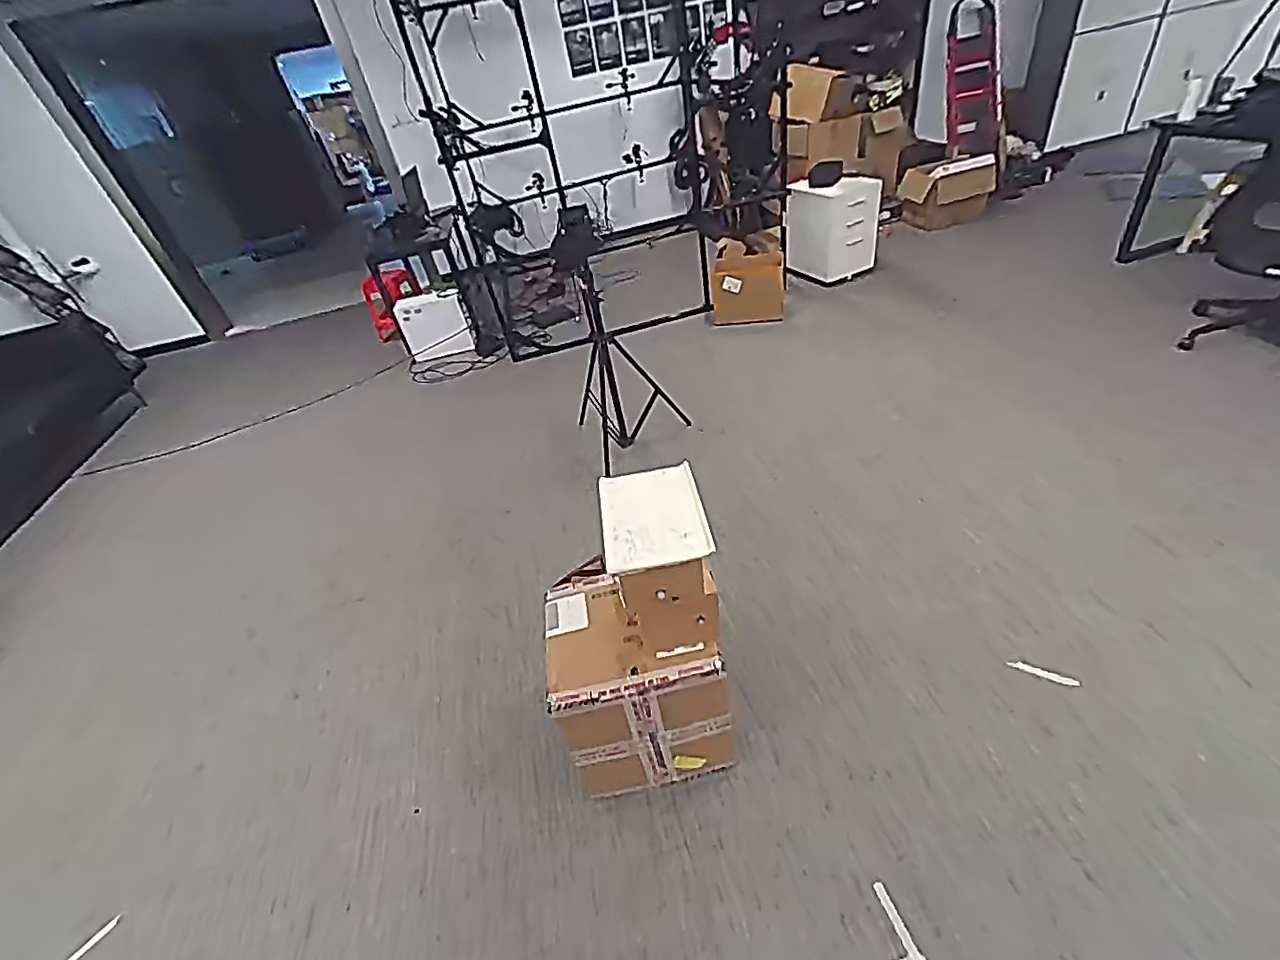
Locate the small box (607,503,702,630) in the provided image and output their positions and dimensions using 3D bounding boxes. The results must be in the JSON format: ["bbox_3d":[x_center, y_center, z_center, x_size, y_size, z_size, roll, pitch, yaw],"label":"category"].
[{"bbox_3d":[0.029,0.174,1.094,0.168,0.176,0.179,-10,40,-1],"label":"small box"}]

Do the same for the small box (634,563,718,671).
[{"bbox_3d":[0.068,0.294,1.201,0.179,0.176,0.168,-13,39,-4],"label":"small box"}]
